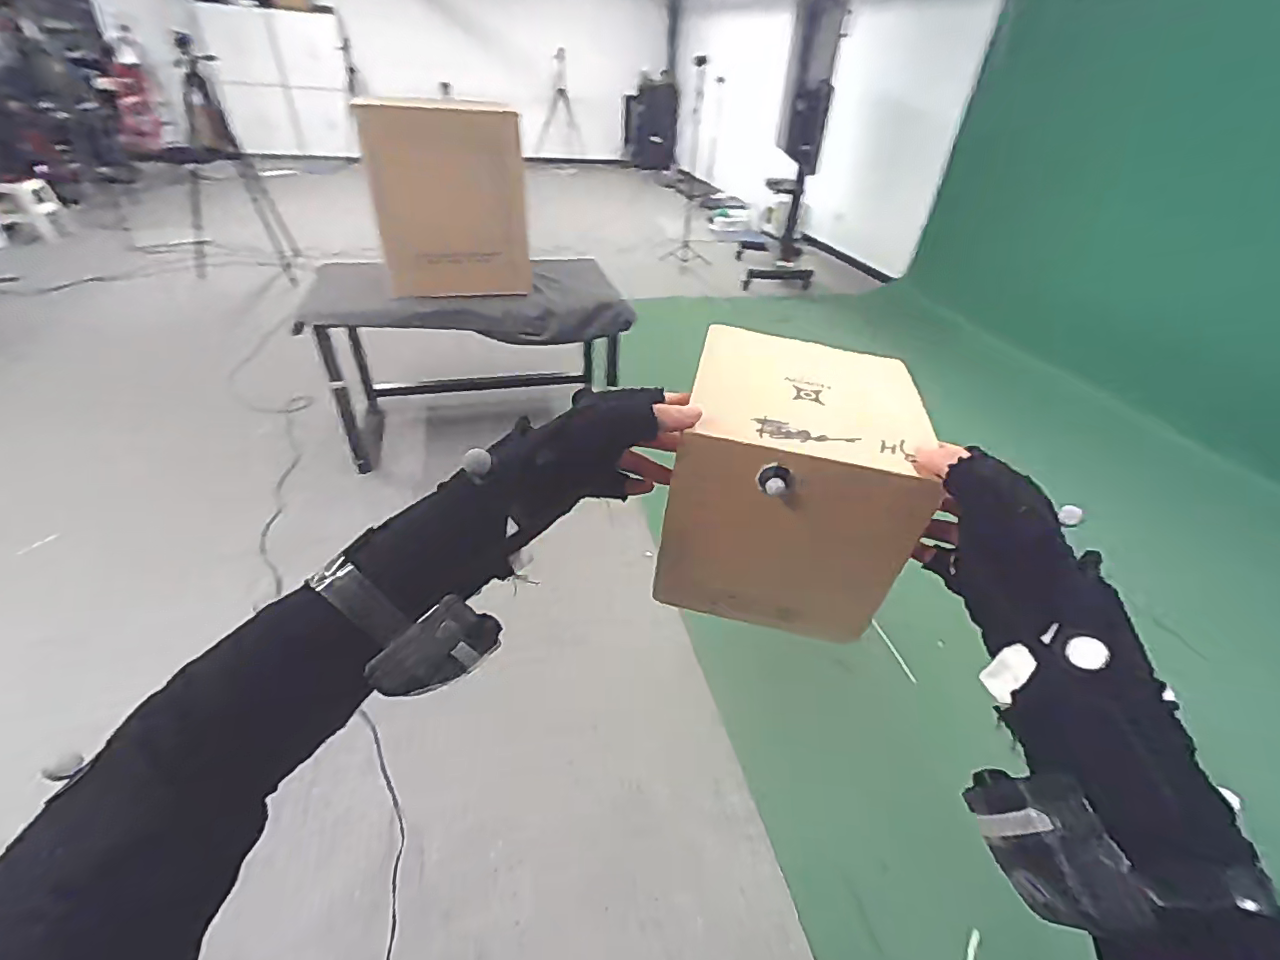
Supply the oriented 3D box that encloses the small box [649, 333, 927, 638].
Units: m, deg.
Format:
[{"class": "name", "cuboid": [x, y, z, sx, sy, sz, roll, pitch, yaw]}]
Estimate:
[{"class": "small box", "cuboid": [0.106, -0.001, 0.455, 0.168, 0.176, 0.179, 11, 37, 5]}]
